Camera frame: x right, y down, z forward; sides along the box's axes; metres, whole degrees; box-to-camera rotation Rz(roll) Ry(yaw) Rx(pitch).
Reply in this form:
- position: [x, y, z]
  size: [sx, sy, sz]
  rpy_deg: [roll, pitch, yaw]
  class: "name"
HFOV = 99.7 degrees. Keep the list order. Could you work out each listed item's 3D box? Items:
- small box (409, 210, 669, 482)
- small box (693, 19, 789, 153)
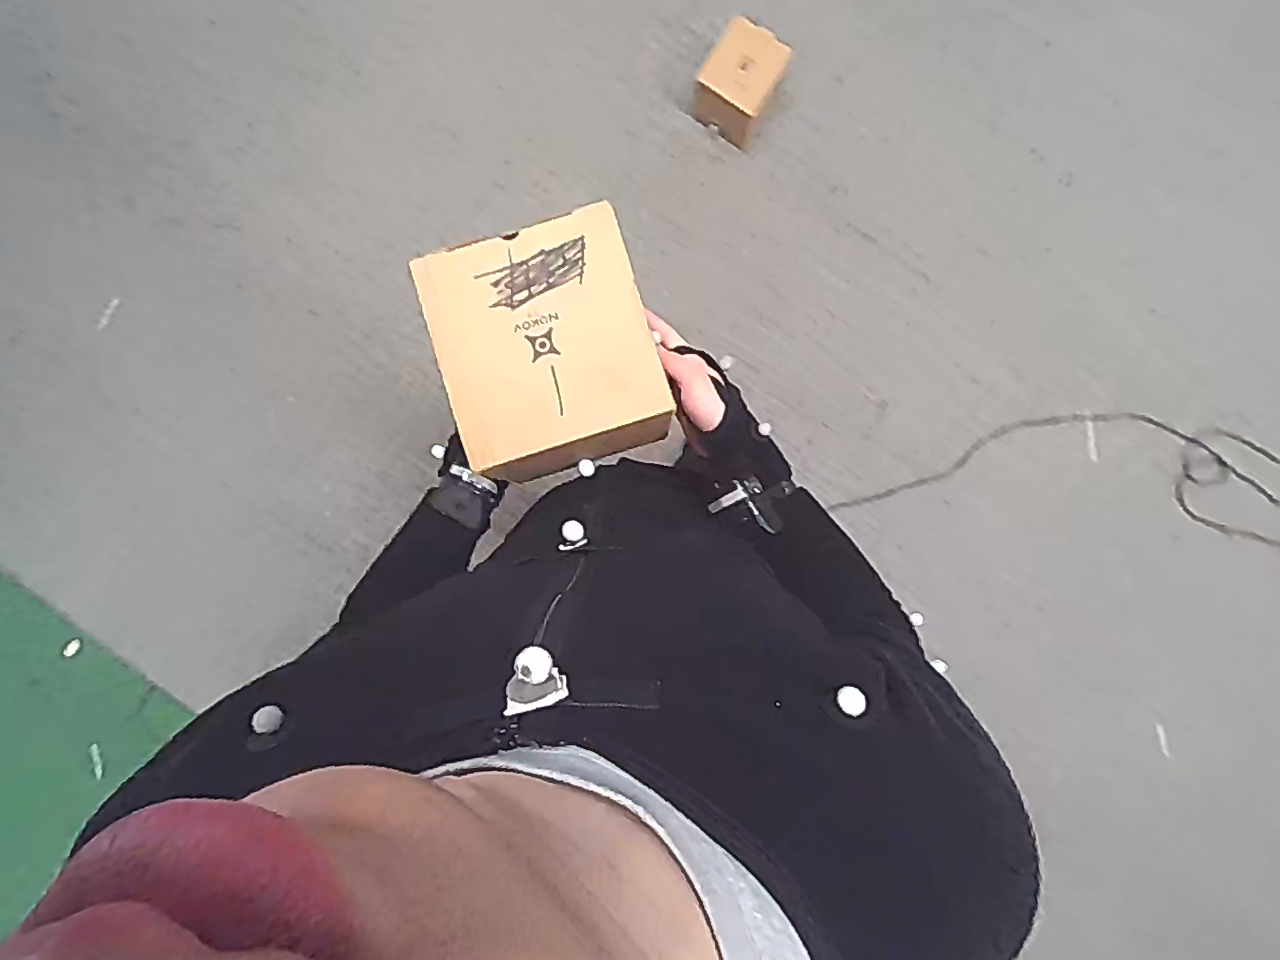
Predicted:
- position: [-0.081, -0.105, 0.502]
  size: [0.168, 0.176, 0.179]
  rpy_deg: [-18, 88, -1]
  class: "small box"
- position: [0.244, -0.982, 1.364]
  size: [0.168, 0.176, 0.179]
  rpy_deg: [34, 97, 0]
  class: "small box"
